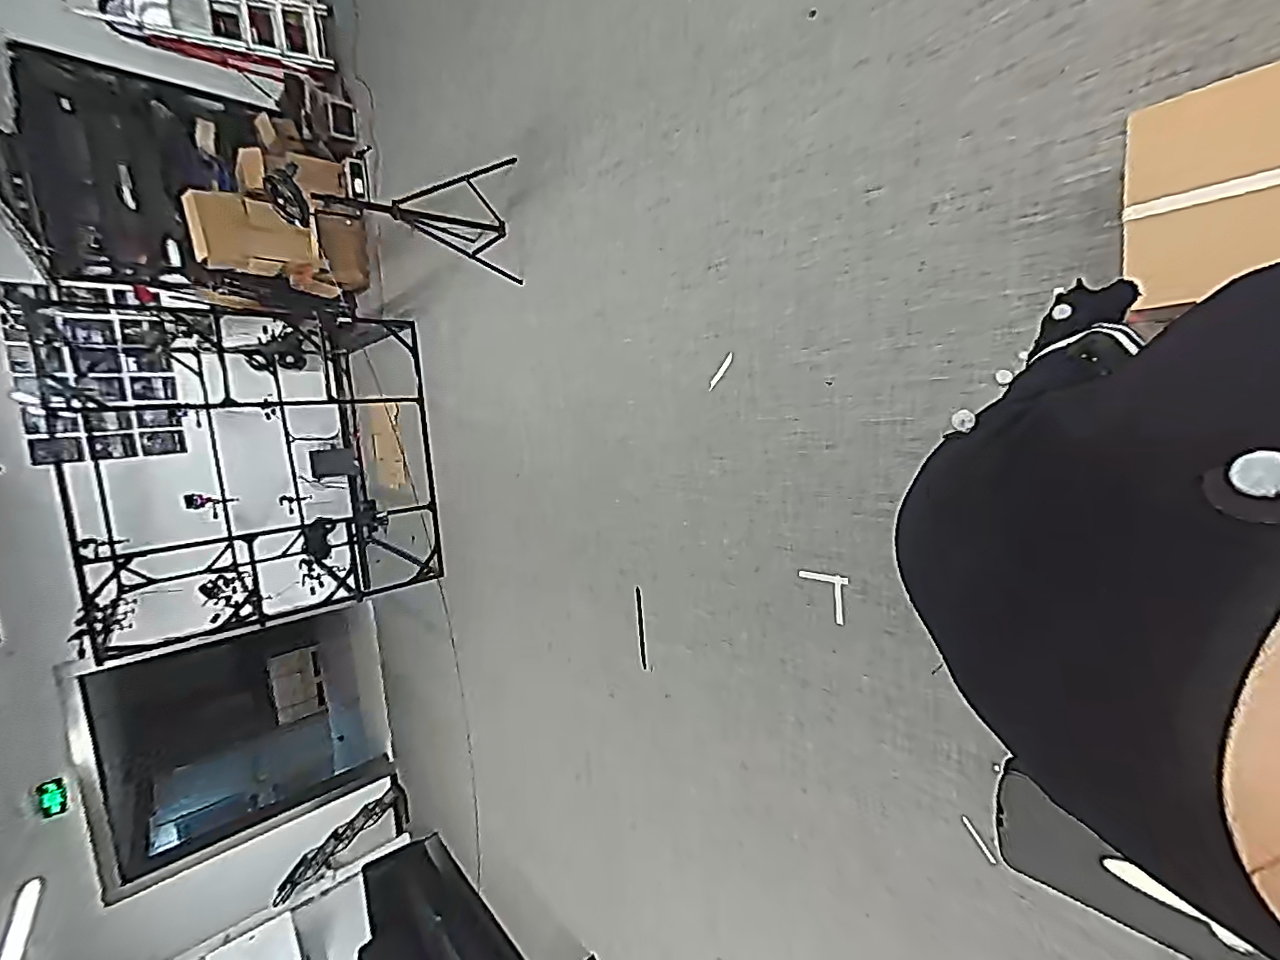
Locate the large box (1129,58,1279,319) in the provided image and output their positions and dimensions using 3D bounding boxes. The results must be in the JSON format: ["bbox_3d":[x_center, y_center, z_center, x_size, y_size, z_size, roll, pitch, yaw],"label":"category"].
[{"bbox_3d":[1.037,-0.451,0.829,0.408,0.320,0.320,3,100,48],"label":"large box"}]
